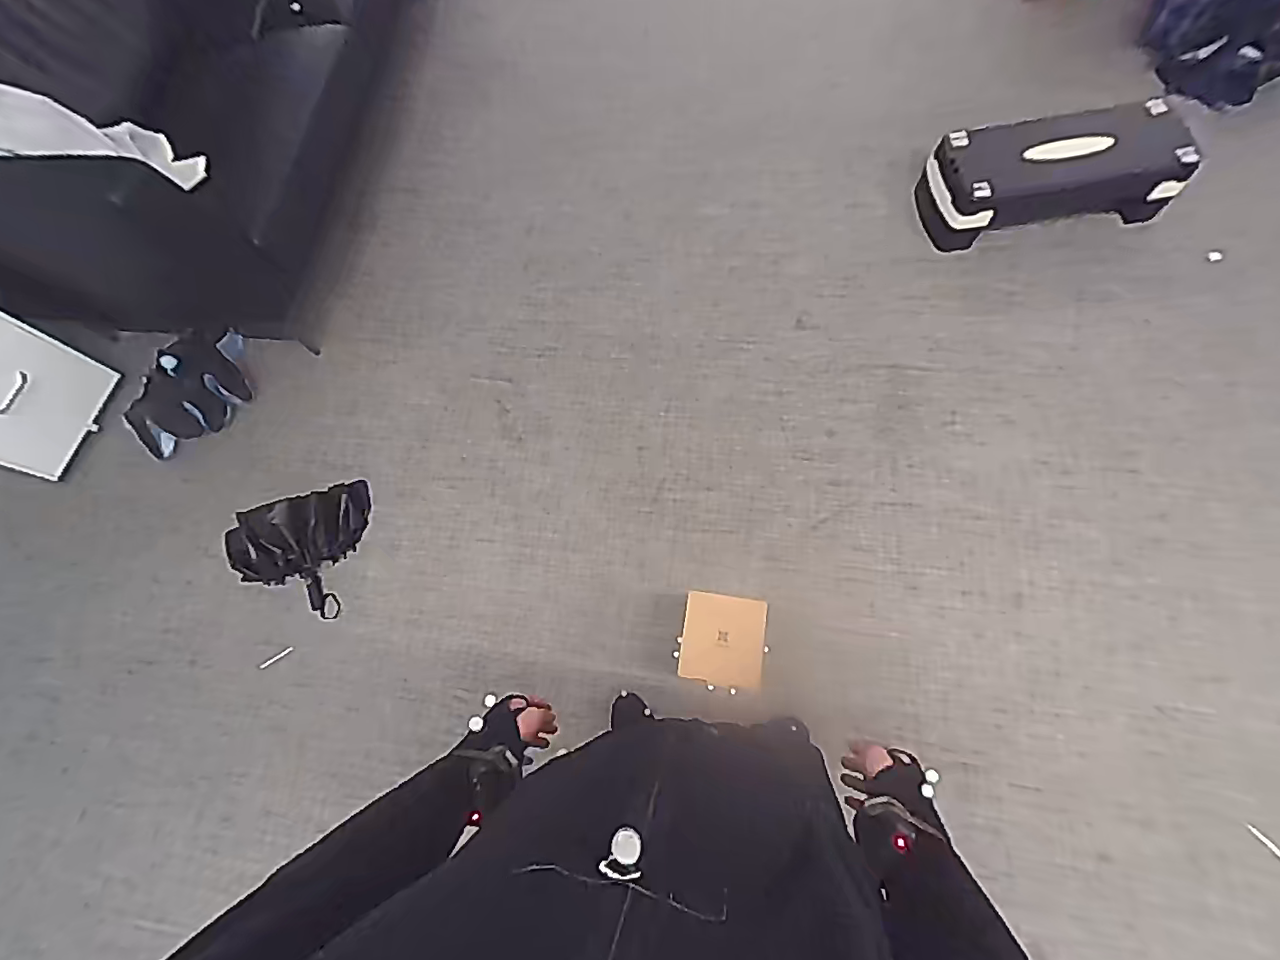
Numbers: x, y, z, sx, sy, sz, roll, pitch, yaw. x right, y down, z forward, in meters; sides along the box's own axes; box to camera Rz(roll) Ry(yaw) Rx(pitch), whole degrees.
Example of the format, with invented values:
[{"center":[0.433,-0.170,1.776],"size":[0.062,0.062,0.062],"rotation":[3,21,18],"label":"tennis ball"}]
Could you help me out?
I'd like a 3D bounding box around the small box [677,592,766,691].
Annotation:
[{"center":[0.176,0.354,1.178],"size":[0.168,0.176,0.179],"rotation":[7,70,8],"label":"small box"}]
